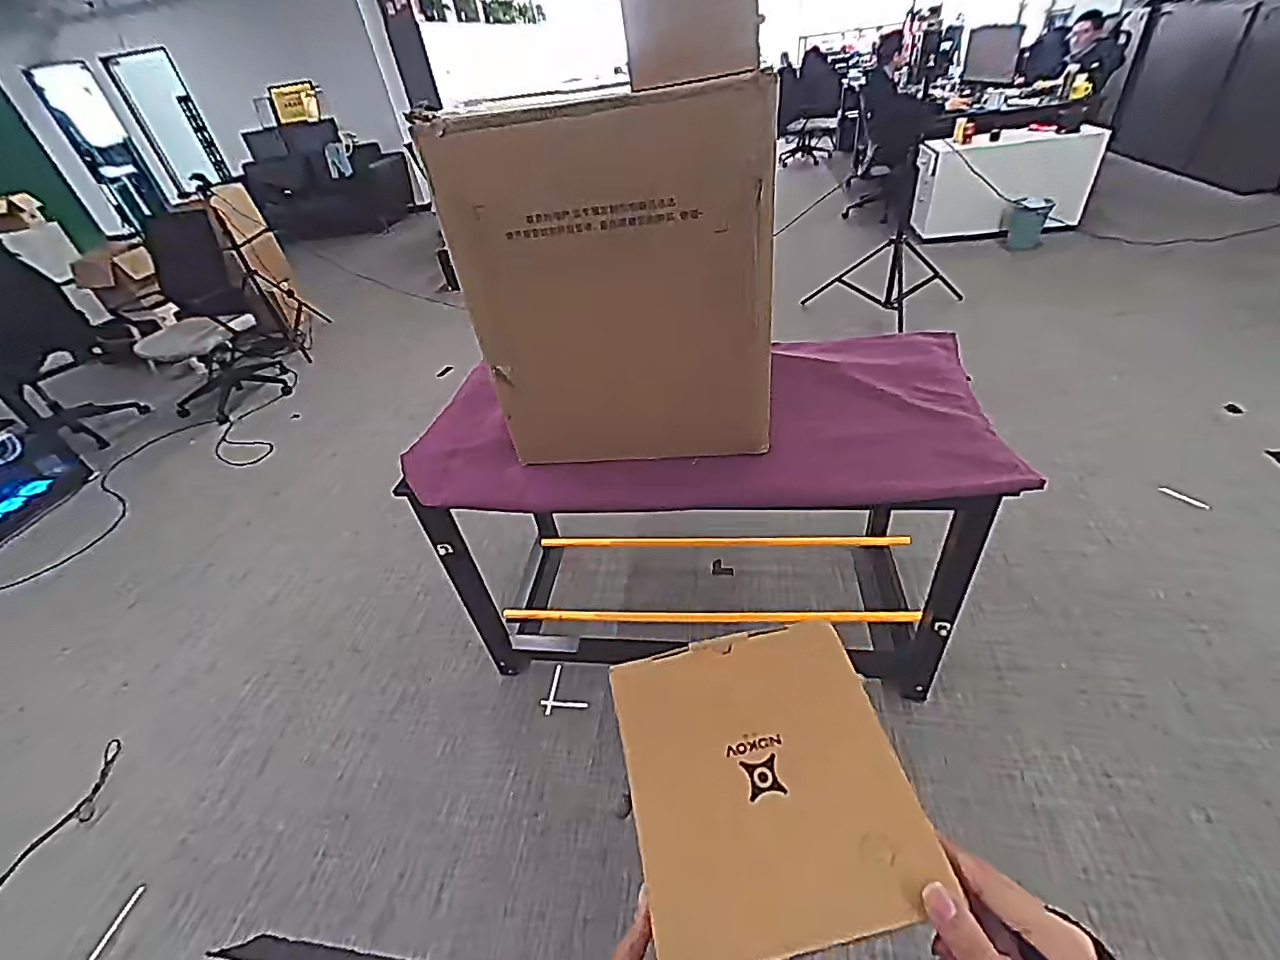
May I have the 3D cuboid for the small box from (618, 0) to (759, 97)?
[{"bbox_3d":[0.063,-0.637,0.731,0.179,0.176,0.168,-4,39,8],"label":"small box"}]

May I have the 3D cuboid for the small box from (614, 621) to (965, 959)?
[{"bbox_3d":[0.086,0.235,0.391,0.168,0.176,0.179,-13,46,-4],"label":"small box"}]
